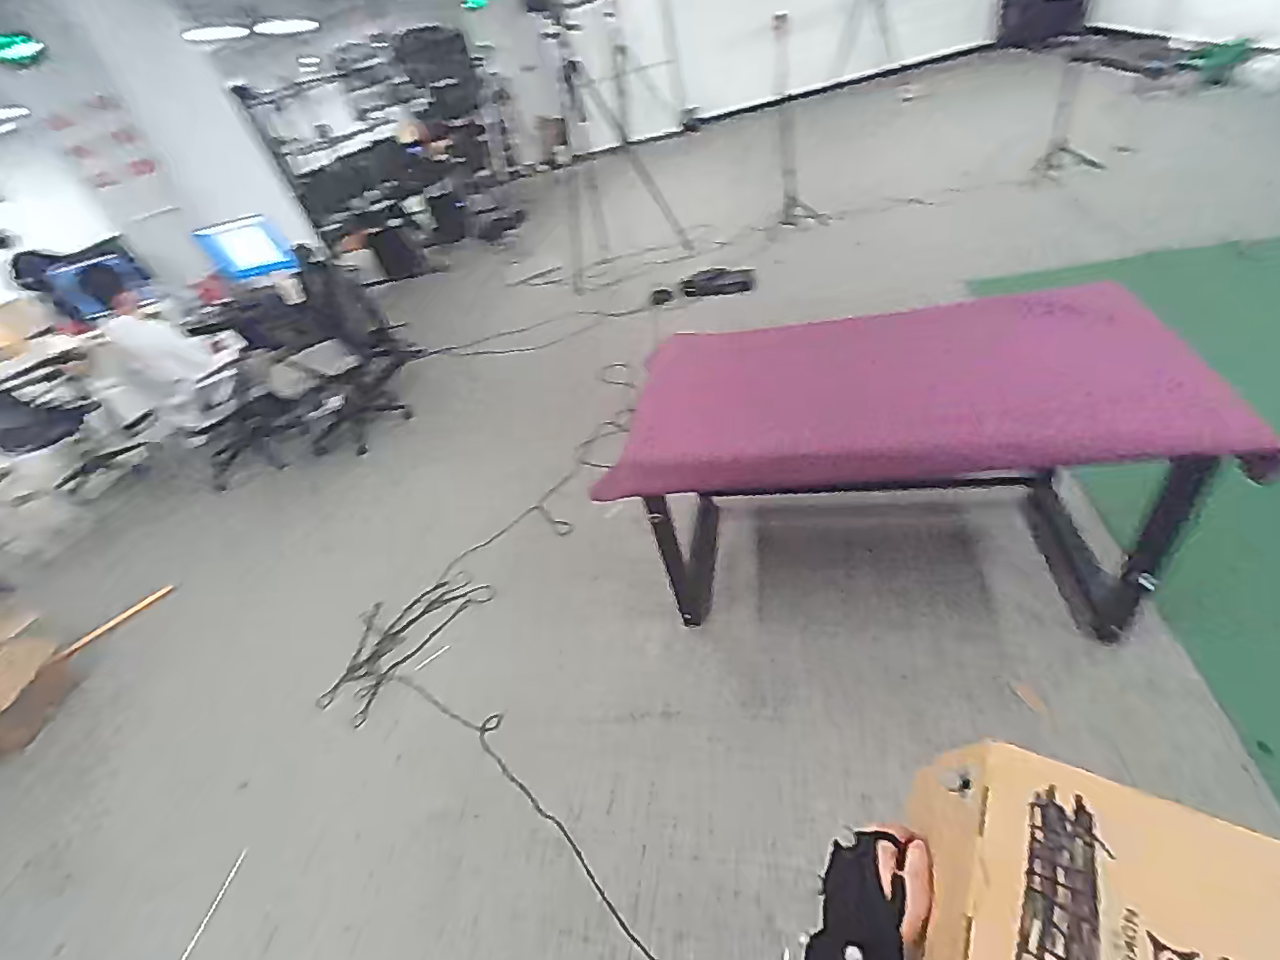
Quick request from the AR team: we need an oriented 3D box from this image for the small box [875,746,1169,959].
[{"bbox_3d":[0.332,0.380,0.502,0.168,0.176,0.179,20,66,24],"label":"small box"}]
